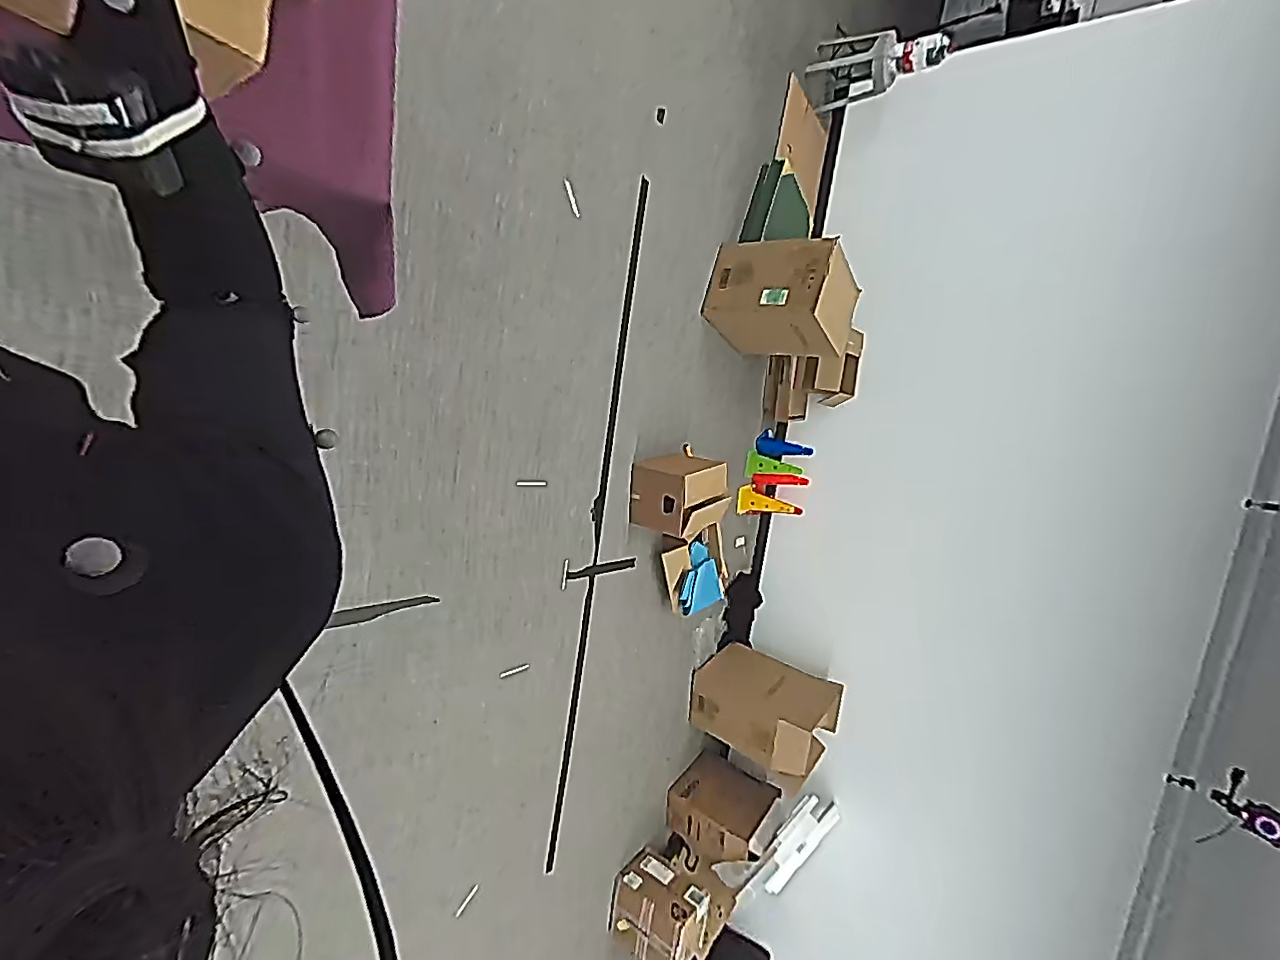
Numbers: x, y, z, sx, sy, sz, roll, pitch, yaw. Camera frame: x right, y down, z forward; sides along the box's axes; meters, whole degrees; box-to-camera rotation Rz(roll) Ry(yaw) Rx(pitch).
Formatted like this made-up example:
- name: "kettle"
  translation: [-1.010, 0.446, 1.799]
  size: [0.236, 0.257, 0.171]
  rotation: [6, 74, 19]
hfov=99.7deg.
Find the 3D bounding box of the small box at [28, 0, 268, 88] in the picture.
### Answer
- name: "small box"
  translation: [-0.456, -0.500, 0.488]
  size: [0.168, 0.176, 0.179]
  rotation: [5, 98, -56]
